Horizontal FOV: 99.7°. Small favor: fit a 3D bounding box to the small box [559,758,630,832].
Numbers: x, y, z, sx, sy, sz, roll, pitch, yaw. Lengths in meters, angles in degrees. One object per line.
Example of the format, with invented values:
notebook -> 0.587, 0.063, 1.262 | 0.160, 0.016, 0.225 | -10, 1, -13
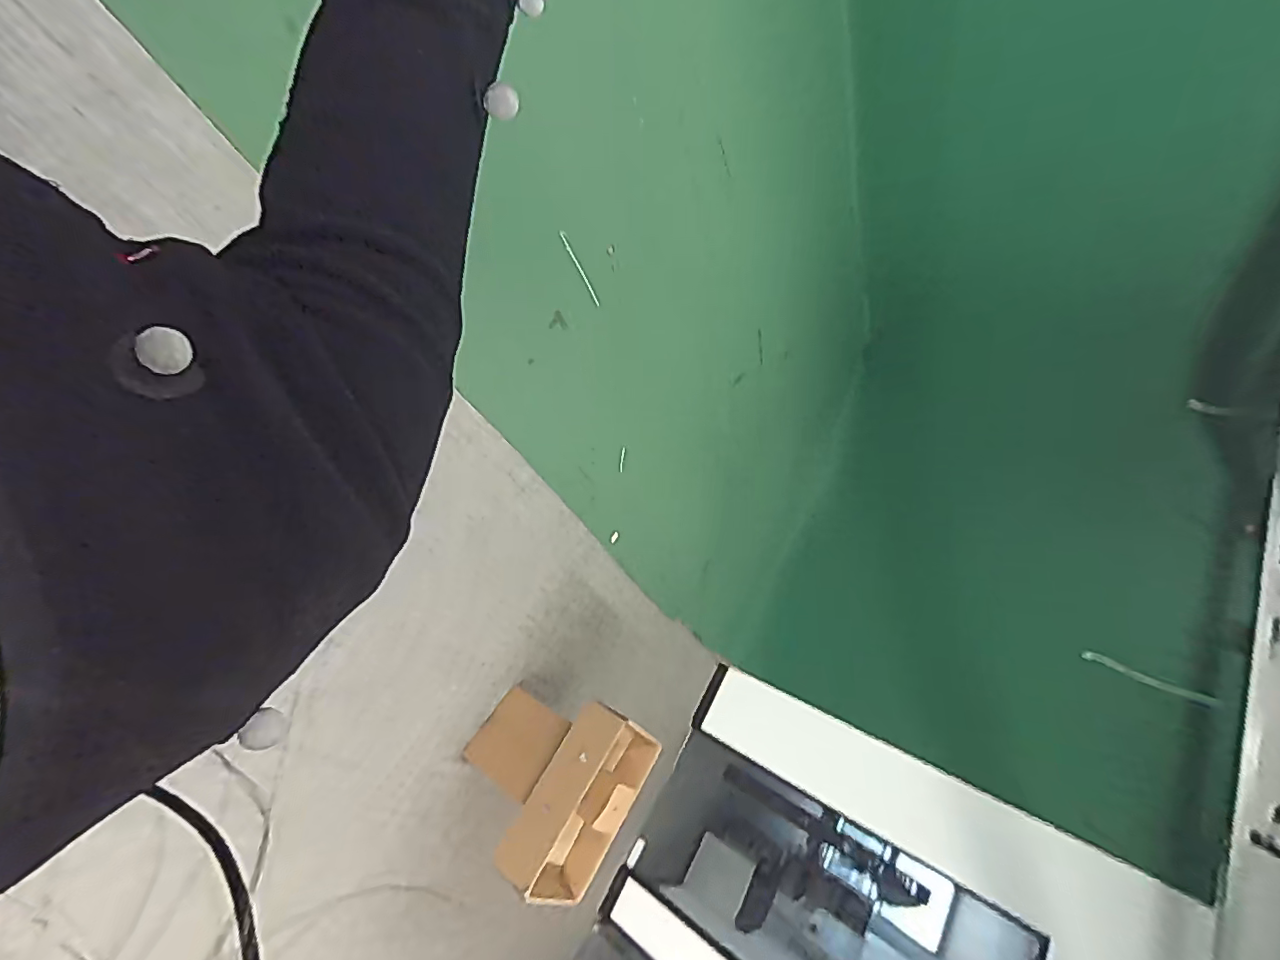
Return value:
small box -> -0.171, 1.164, 2.003 | 0.168, 0.176, 0.179 | -55, 143, -21
